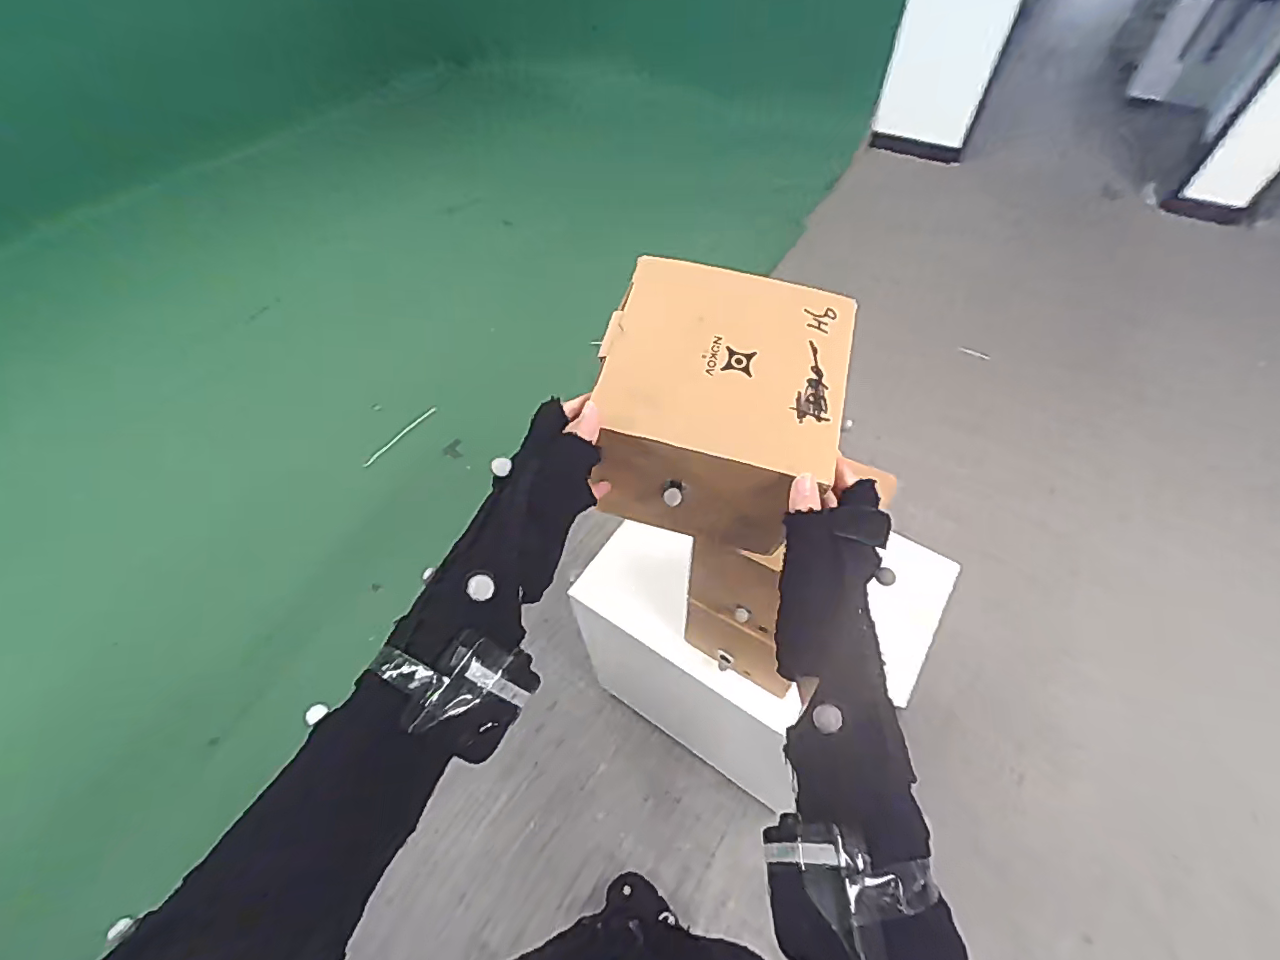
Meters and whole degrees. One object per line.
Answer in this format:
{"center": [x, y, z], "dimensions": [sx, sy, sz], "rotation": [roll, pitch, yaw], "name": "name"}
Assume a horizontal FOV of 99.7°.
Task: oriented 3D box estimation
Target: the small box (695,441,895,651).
{"center": [0.171, 0.066, 0.637], "dimensions": [0.168, 0.176, 0.179], "rotation": [22, 57, 18], "name": "small box"}

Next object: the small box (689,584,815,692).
{"center": [0.178, 0.167, 0.766], "dimensions": [0.168, 0.176, 0.179], "rotation": [25, 61, 21], "name": "small box"}

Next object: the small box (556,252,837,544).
{"center": [0.047, -0.058, 0.459], "dimensions": [0.179, 0.176, 0.168], "rotation": [13, 67, 6], "name": "small box"}
